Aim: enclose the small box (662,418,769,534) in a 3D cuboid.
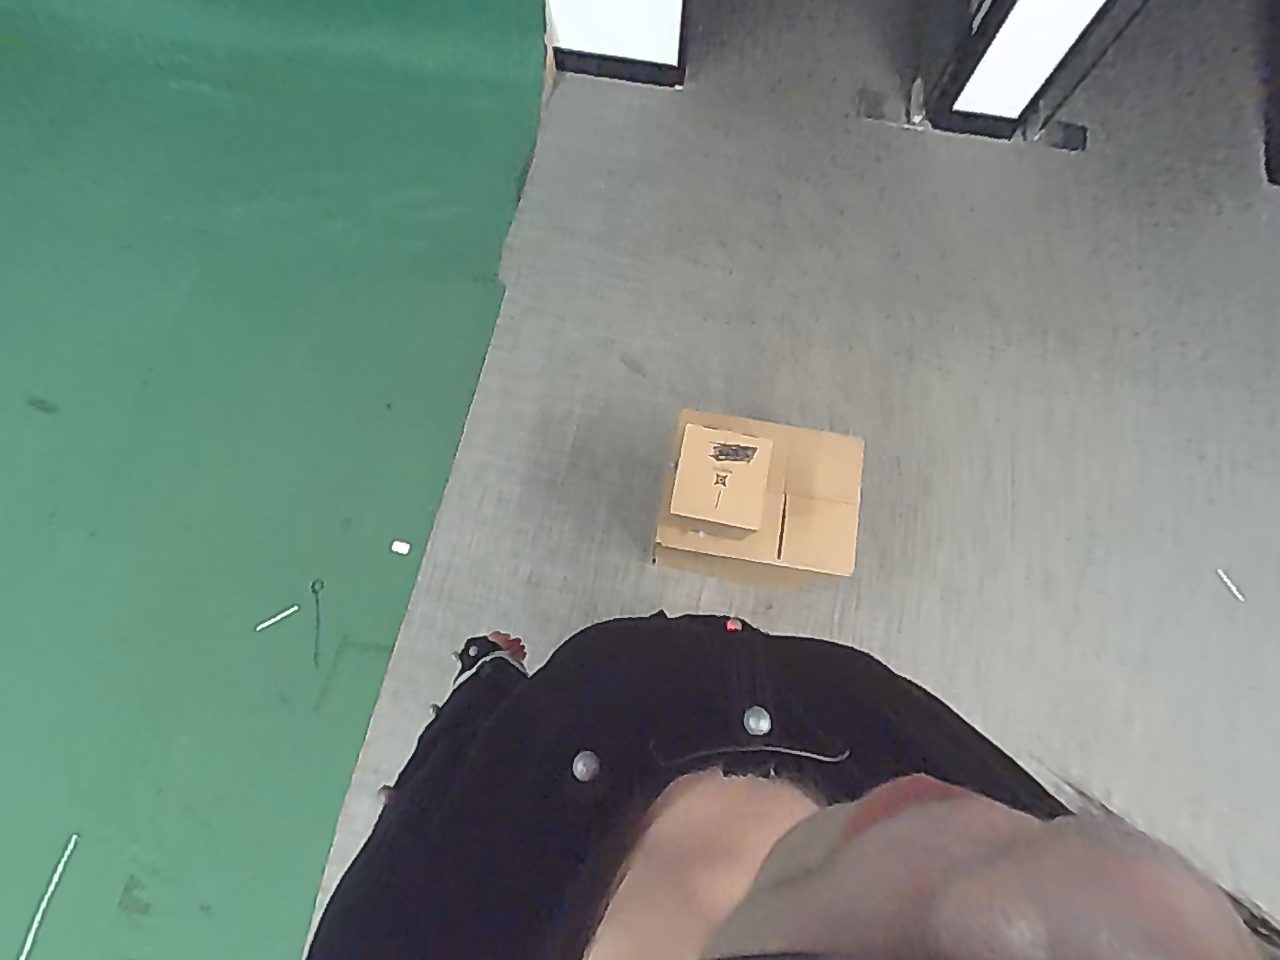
[{"bbox_3d":[0.141,-0.001,1.066,0.168,0.176,0.179,12,79,1],"label":"small box"}]
